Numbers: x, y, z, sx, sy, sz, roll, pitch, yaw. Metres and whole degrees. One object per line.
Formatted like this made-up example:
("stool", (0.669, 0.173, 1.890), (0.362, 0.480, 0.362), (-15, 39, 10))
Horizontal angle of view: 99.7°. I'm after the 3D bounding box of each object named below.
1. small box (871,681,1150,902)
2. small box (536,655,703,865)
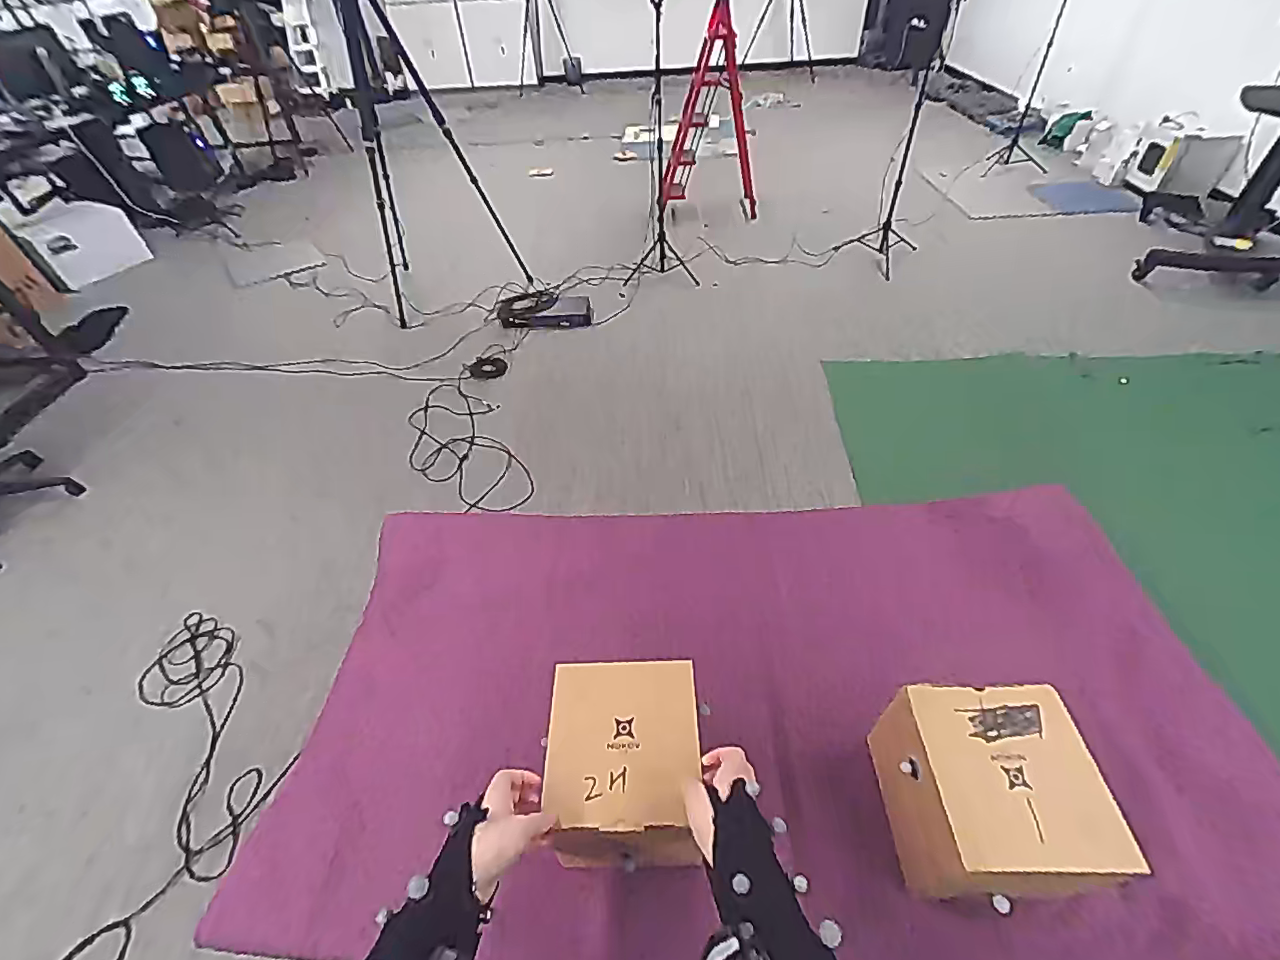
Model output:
("small box", (0.375, 0.342, 0.596), (0.168, 0.176, 0.179), (-1, 46, 3))
("small box", (-0.017, 0.327, 0.635), (0.168, 0.176, 0.179), (-2, 44, 2))
